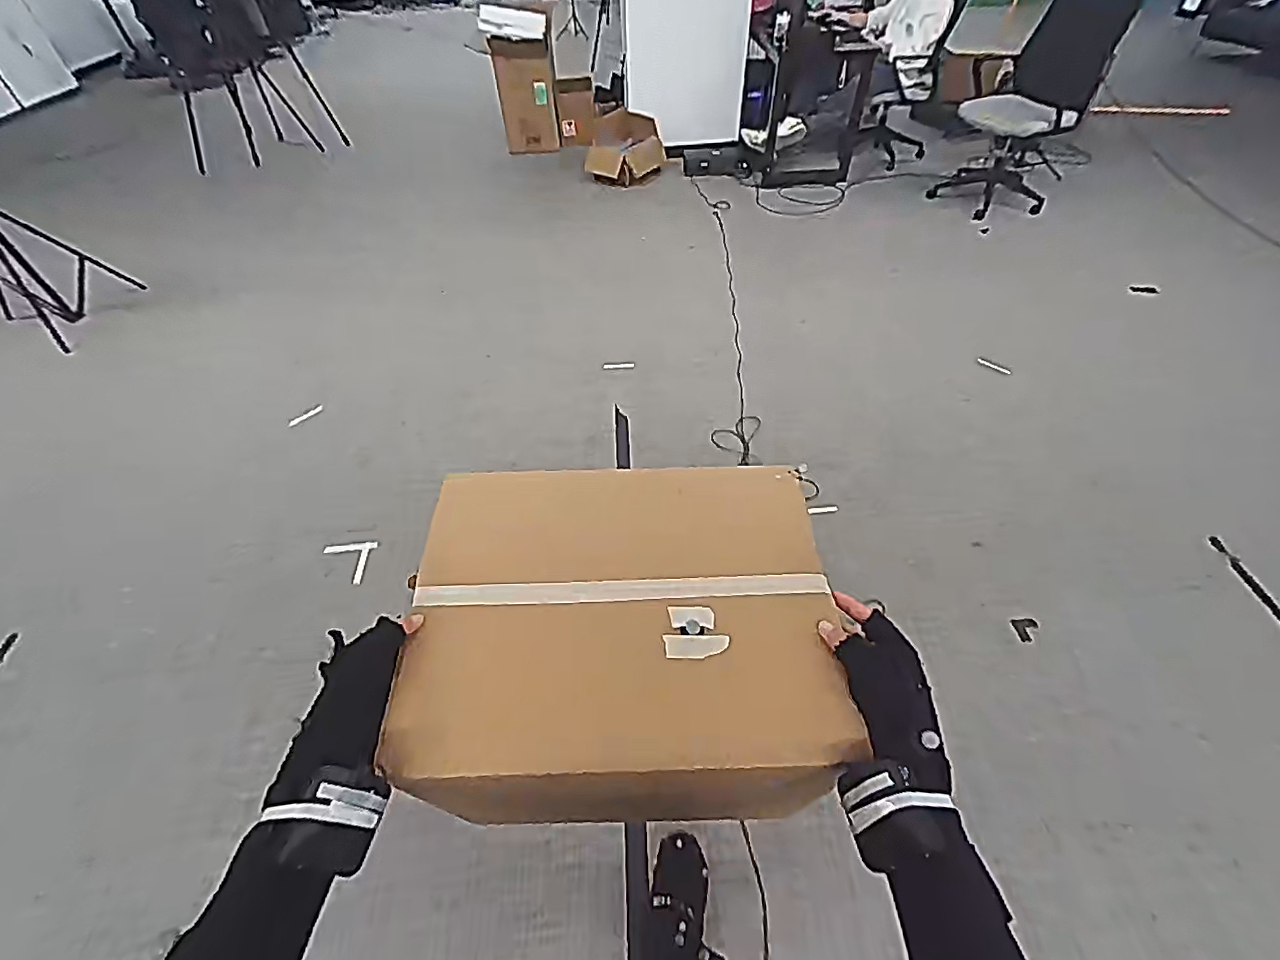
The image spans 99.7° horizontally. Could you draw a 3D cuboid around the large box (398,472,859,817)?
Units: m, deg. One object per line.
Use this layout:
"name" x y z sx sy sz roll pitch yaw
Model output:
"large box" -0.014 0.209 0.666 0.408 0.320 0.320 -1 52 -1
